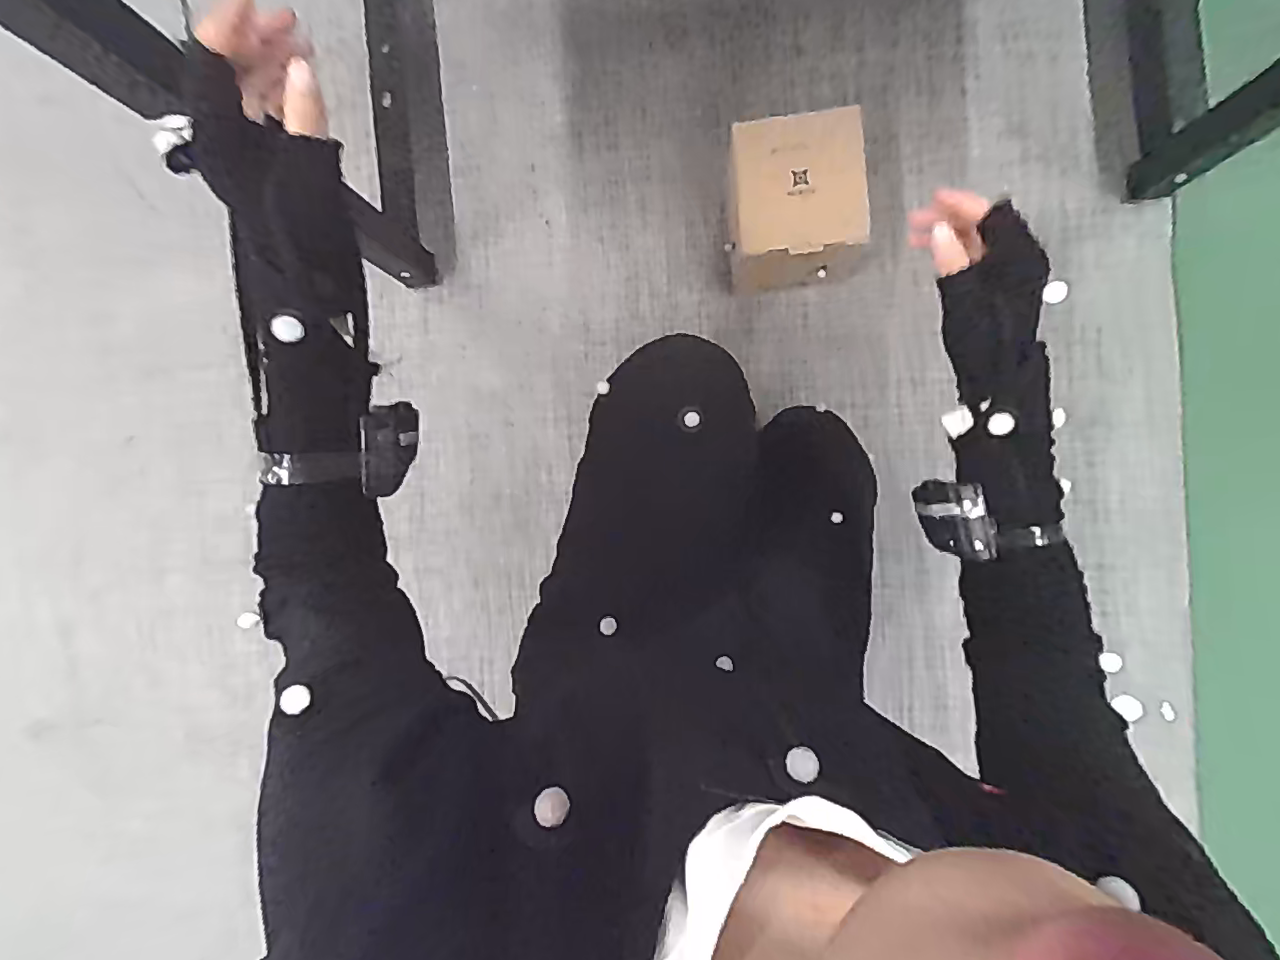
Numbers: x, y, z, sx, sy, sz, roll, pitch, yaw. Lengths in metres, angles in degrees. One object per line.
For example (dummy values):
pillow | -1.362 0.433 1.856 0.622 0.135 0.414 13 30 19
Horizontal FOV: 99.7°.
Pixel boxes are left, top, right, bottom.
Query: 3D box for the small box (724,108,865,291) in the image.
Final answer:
small box | 0.213 -0.387 0.782 0.168 0.176 0.179 -5 88 5
